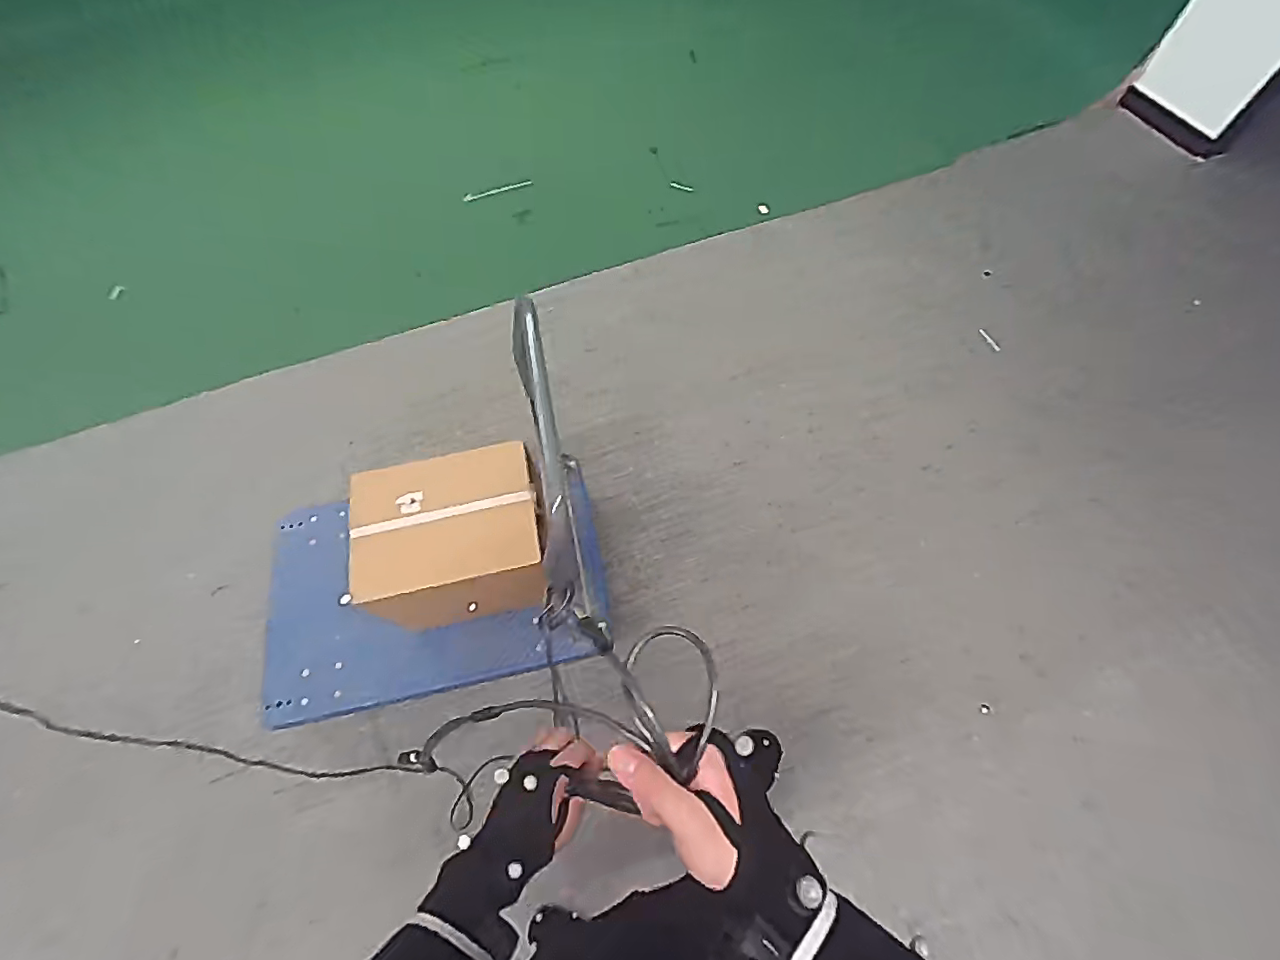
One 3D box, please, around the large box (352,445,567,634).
[{"bbox_3d":[-0.421,0.158,1.316,0.408,0.320,0.320,-12,63,-3],"label":"large box"}]
